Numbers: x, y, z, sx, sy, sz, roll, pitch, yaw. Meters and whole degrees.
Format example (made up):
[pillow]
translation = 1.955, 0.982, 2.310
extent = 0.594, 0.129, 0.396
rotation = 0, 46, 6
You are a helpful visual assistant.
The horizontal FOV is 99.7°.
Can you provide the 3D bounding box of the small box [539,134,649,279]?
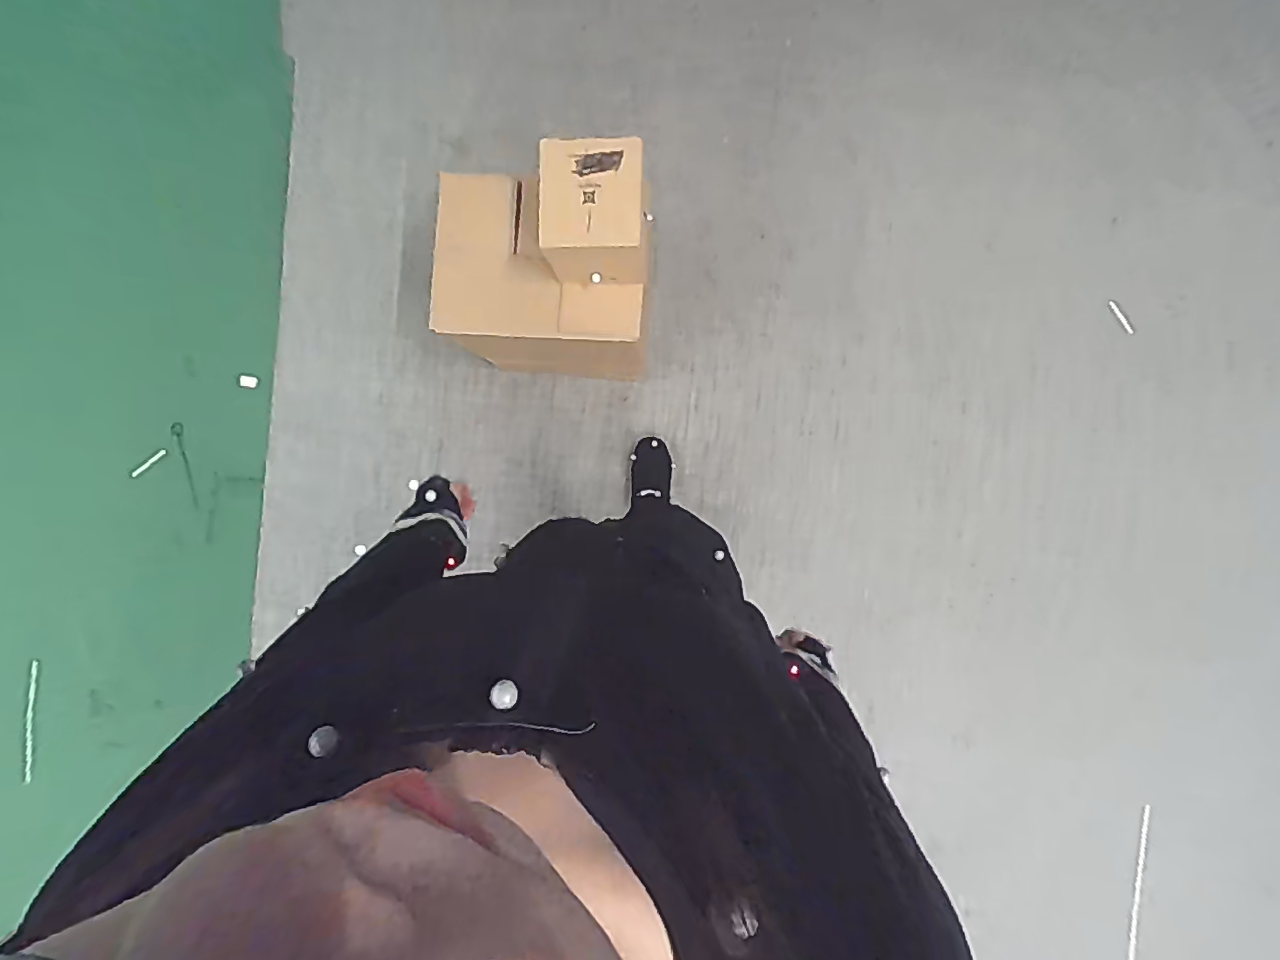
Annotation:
[small box]
translation = -0.073, -0.469, 0.946
extent = 0.168, 0.176, 0.179
rotation = 2, 93, 4
